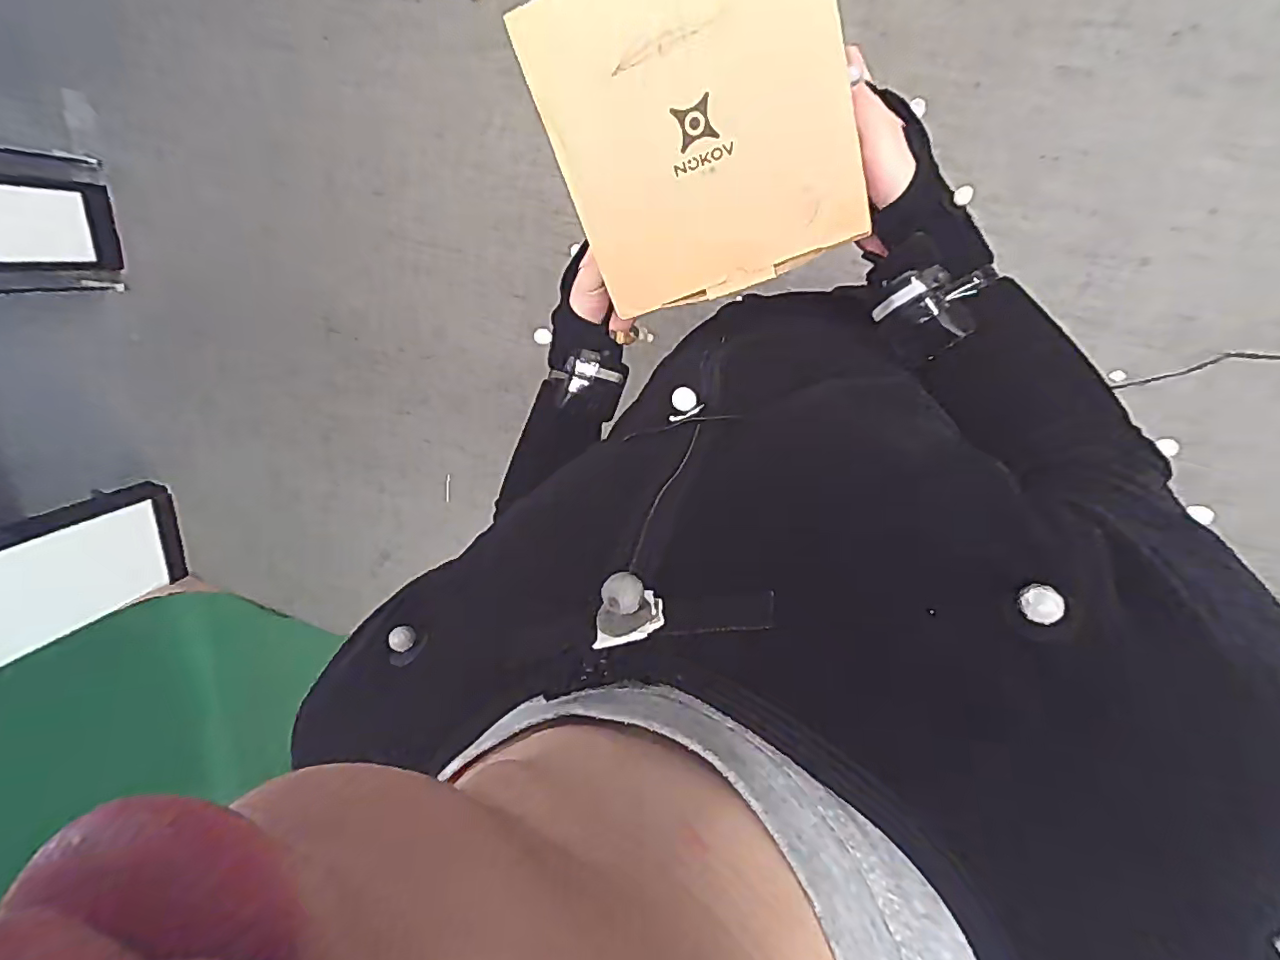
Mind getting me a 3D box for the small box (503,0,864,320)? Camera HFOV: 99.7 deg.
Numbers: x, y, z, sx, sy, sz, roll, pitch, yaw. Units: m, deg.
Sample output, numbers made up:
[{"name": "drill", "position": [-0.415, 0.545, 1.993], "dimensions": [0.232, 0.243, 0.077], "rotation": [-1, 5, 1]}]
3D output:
[{"name": "small box", "position": [0.040, -0.239, 0.374], "dimensions": [0.168, 0.176, 0.179], "rotation": [-15, 117, 16]}]
